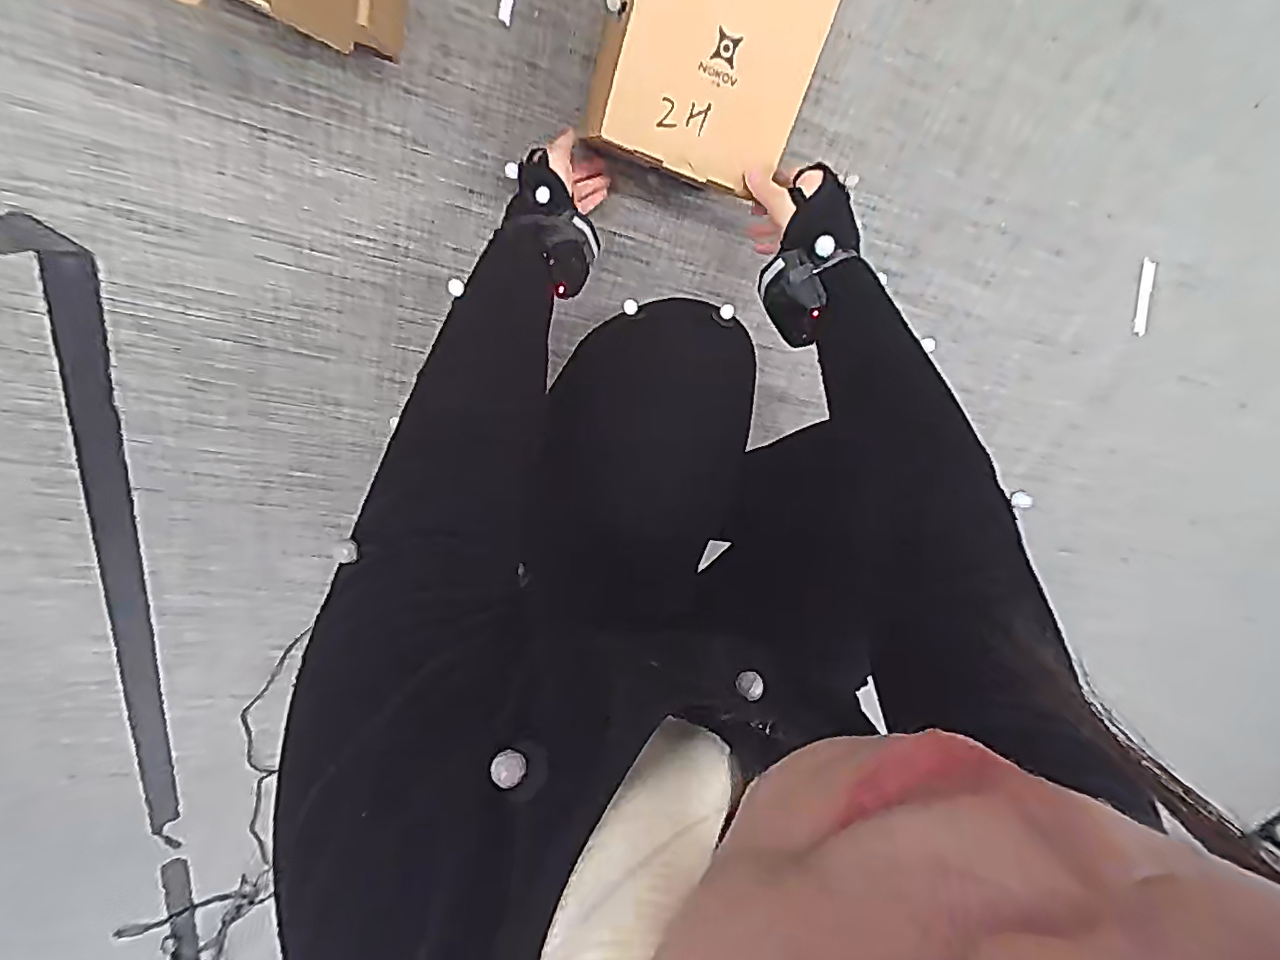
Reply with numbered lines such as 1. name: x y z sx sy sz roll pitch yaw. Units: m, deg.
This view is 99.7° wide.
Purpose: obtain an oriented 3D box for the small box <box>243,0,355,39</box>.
1. small box: -0.232 -0.360 0.260 0.168 0.176 0.179 15 116 -23

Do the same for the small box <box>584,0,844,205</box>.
1. small box: 0.052 -0.388 0.513 0.168 0.176 0.179 11 118 -20

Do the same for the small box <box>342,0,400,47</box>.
1. small box: -0.269 -0.451 0.393 0.179 0.176 0.168 11 118 -21
